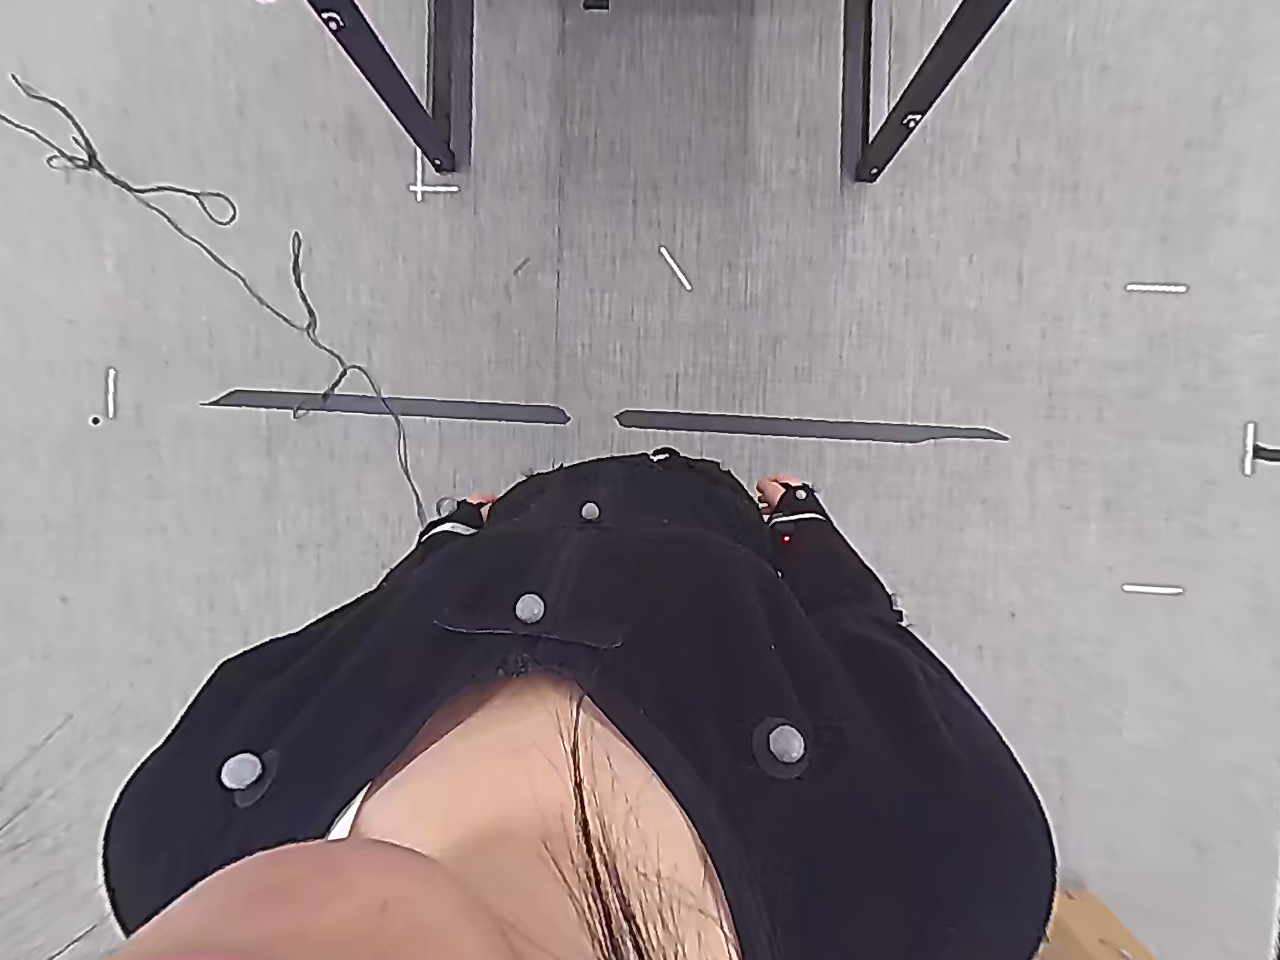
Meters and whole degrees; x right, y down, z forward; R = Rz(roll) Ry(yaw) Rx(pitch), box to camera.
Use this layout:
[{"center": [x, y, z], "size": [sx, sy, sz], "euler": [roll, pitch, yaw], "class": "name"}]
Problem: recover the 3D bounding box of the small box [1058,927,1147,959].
[{"center": [1.114, 1.205, 1.260], "size": [0.168, 0.176, 0.179], "euler": [6, 91, 1], "class": "small box"}]
